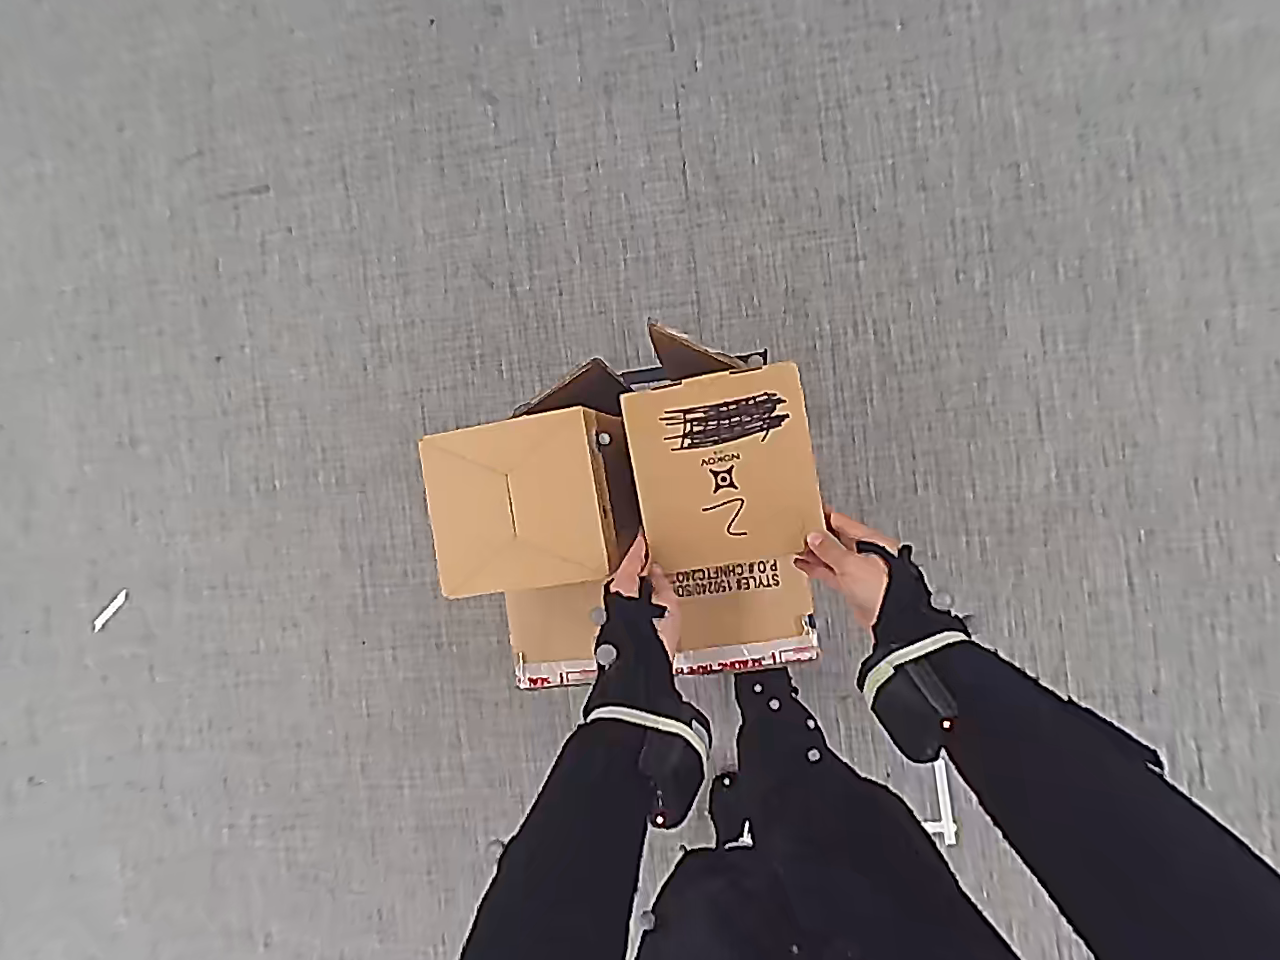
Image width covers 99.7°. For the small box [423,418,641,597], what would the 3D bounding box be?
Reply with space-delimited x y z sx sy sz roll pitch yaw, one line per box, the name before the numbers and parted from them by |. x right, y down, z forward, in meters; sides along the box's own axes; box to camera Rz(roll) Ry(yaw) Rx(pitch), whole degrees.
small box | -0.109 0.027 0.609 0.179 0.176 0.168 -9 90 10
